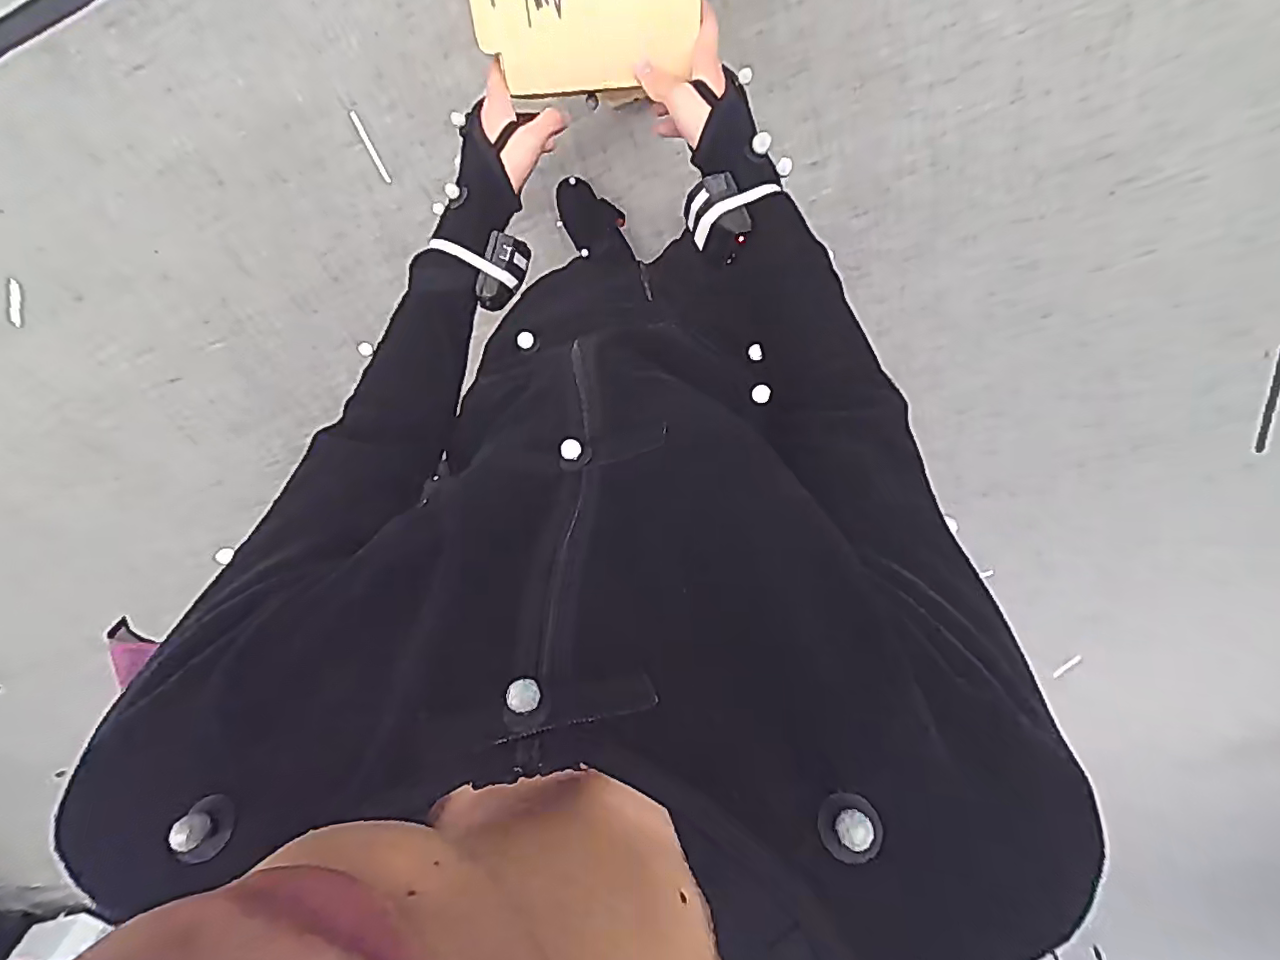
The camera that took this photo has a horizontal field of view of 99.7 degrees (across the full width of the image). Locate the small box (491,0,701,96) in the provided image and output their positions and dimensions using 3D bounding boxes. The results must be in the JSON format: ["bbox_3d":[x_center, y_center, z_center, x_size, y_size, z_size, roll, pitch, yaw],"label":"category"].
[{"bbox_3d":[-0.044,-0.461,0.498,0.179,0.176,0.168,-7,126,-2],"label":"small box"}]

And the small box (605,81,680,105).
[{"bbox_3d":[-0.011,-0.905,1.123,0.168,0.176,0.179,-14,121,7],"label":"small box"}]
